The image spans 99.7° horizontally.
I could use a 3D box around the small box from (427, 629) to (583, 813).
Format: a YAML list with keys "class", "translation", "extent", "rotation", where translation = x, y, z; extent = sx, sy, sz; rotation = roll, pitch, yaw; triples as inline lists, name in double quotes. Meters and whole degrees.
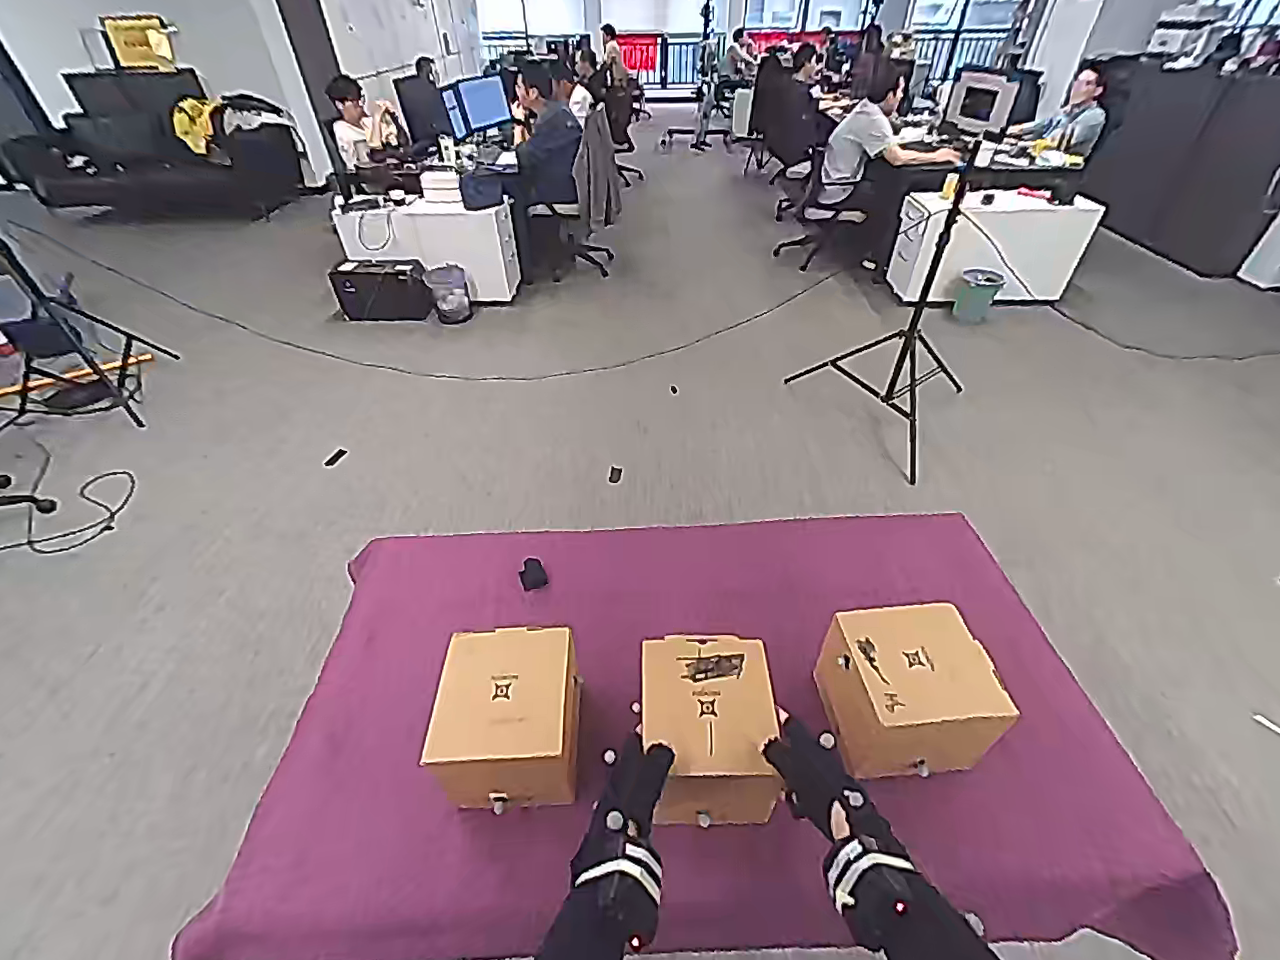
- class: "small box"
  translation: [-0.169, 0.330, 0.743]
  extent: [0.168, 0.176, 0.179]
  rotation: [-4, 42, -1]

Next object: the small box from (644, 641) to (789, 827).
- class: "small box"
  translation: [0.089, 0.338, 0.725]
  extent: [0.168, 0.176, 0.179]
  rotation: [-1, 41, 1]

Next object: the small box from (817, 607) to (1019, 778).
- class: "small box"
  translation: [0.372, 0.299, 0.763]
  extent: [0.179, 0.176, 0.168]
  rotation: [-3, 41, -3]
